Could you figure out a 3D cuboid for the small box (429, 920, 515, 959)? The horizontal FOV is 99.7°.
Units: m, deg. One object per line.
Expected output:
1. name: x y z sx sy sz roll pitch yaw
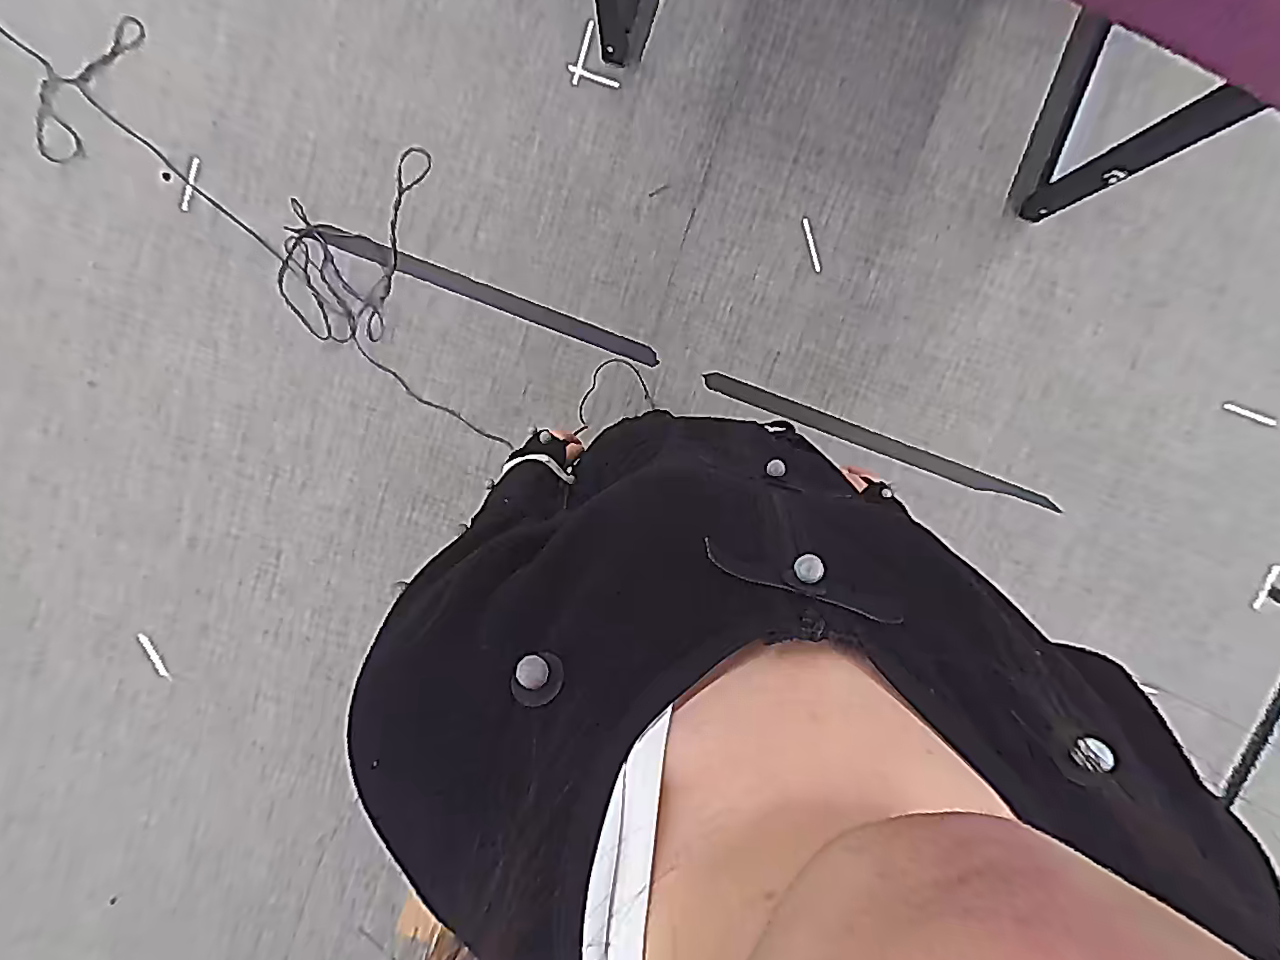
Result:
1. small box: -0.366 1.051 1.095 0.168 0.176 0.179 17 98 -1
